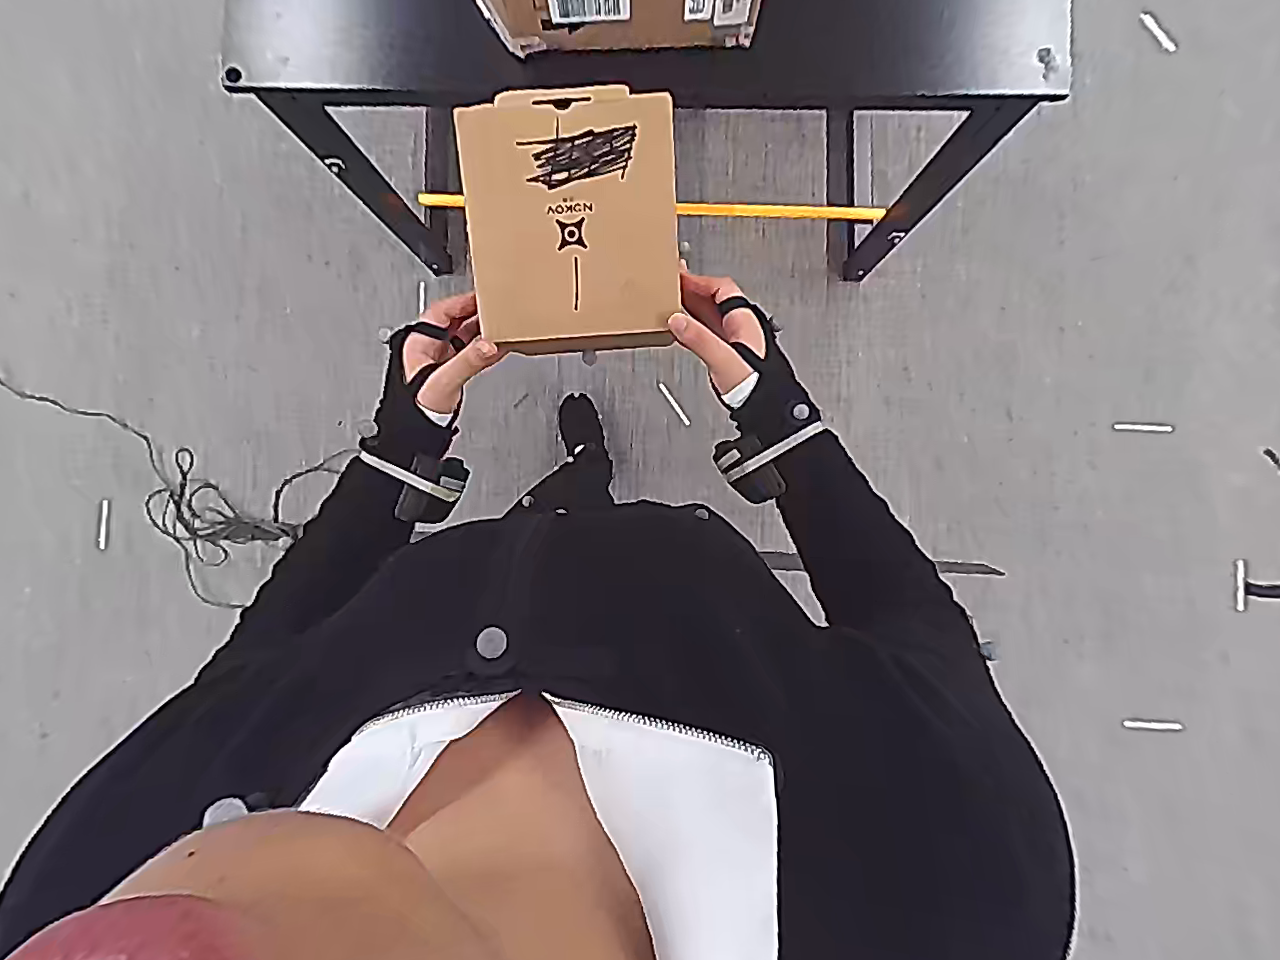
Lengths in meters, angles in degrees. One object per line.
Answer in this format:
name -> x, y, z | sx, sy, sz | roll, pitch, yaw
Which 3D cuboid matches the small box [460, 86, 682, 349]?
small box -> -0.052, -0.220, 0.498 | 0.168, 0.176, 0.179 | -3, 100, 1
